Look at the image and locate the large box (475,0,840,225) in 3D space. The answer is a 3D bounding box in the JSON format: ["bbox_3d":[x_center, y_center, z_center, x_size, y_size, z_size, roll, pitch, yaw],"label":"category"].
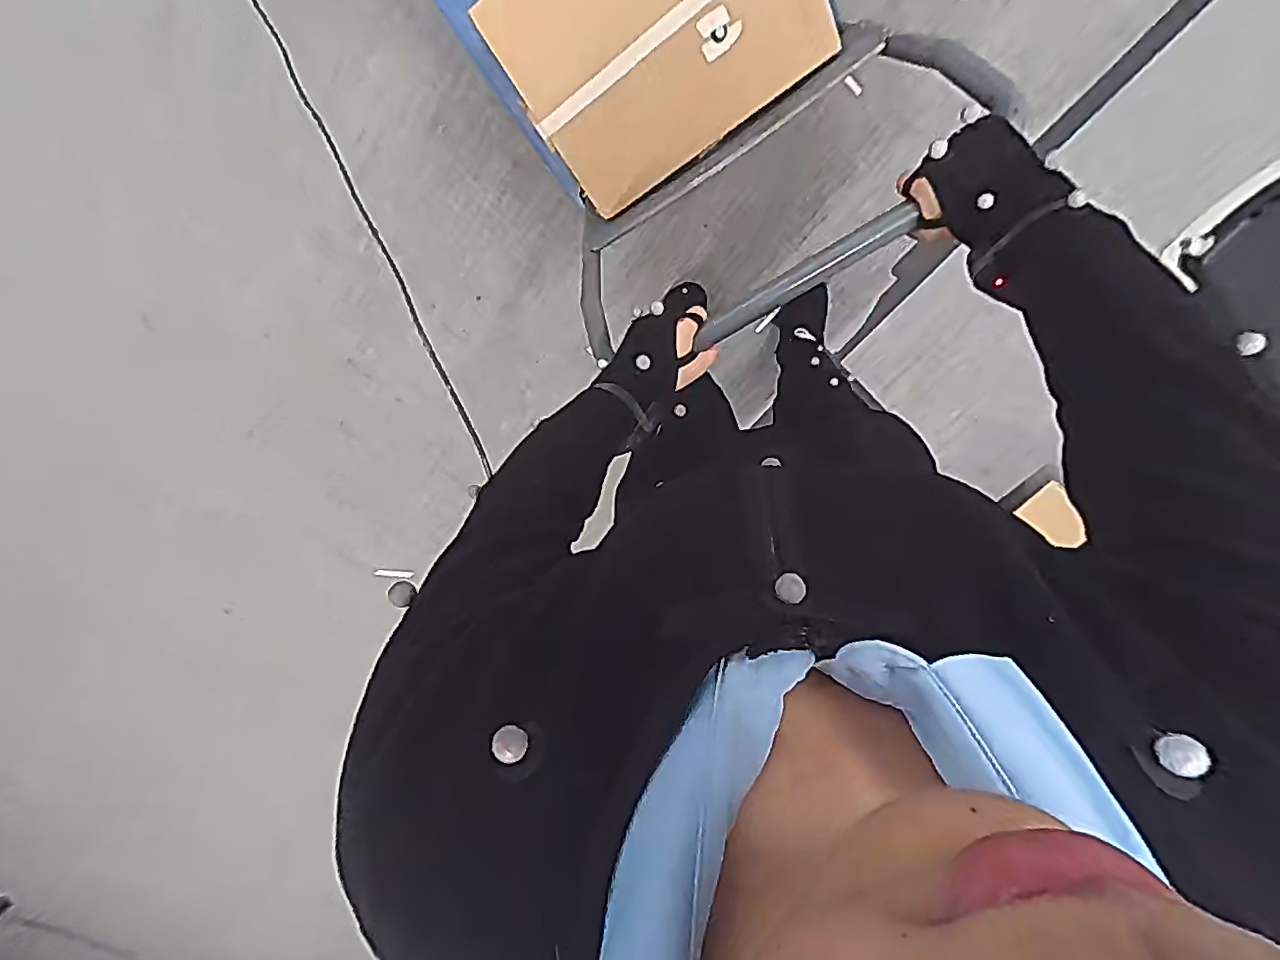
[{"bbox_3d":[0.021,-0.683,0.834,0.408,0.320,0.320,-28,126,19],"label":"large box"}]
